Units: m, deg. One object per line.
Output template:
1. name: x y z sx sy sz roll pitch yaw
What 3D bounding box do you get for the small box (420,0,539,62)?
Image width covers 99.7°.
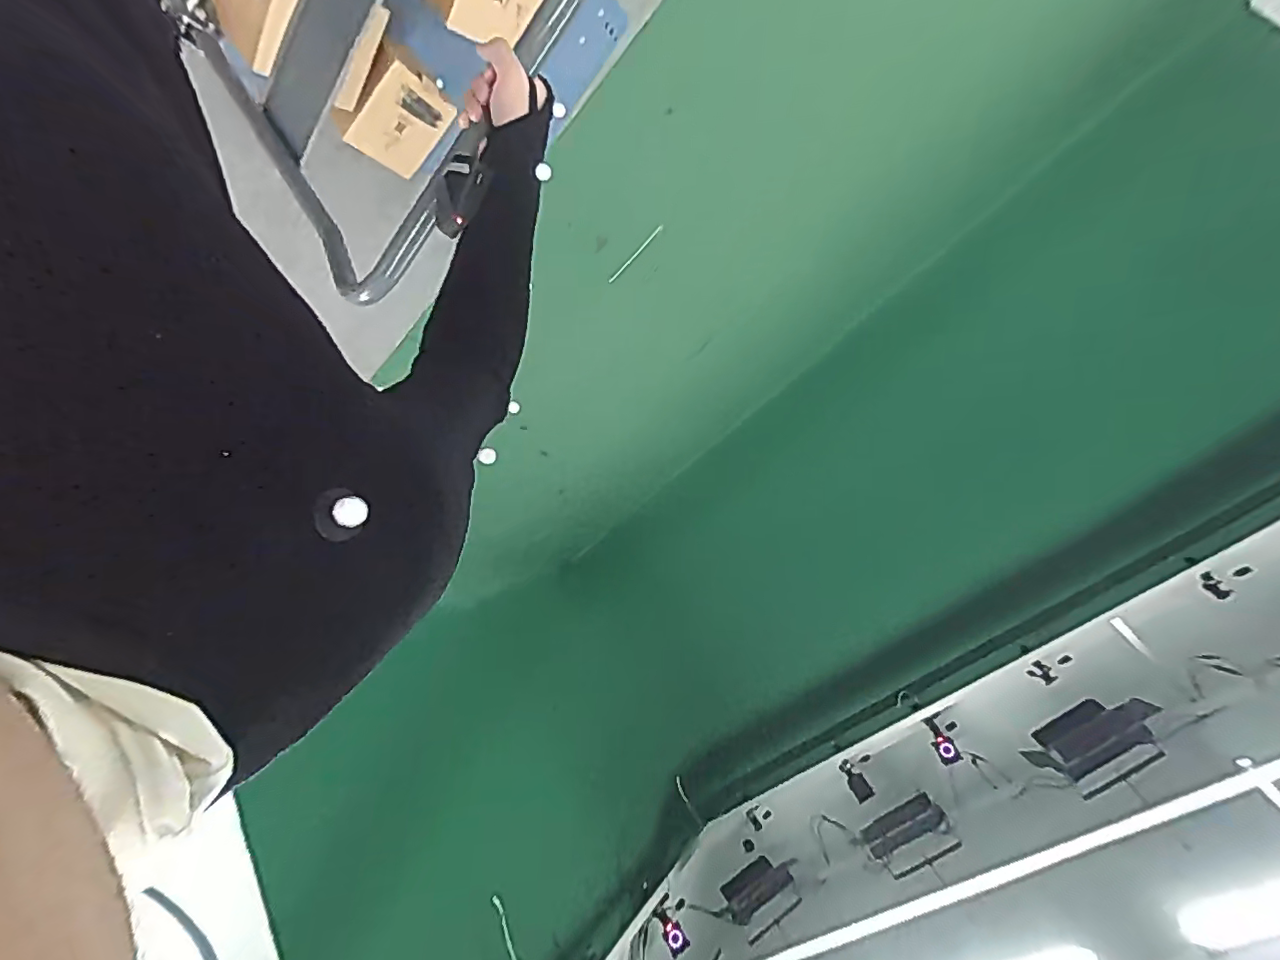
1. small box: -0.305 -0.916 0.973 0.168 0.176 0.179 -45 168 36
